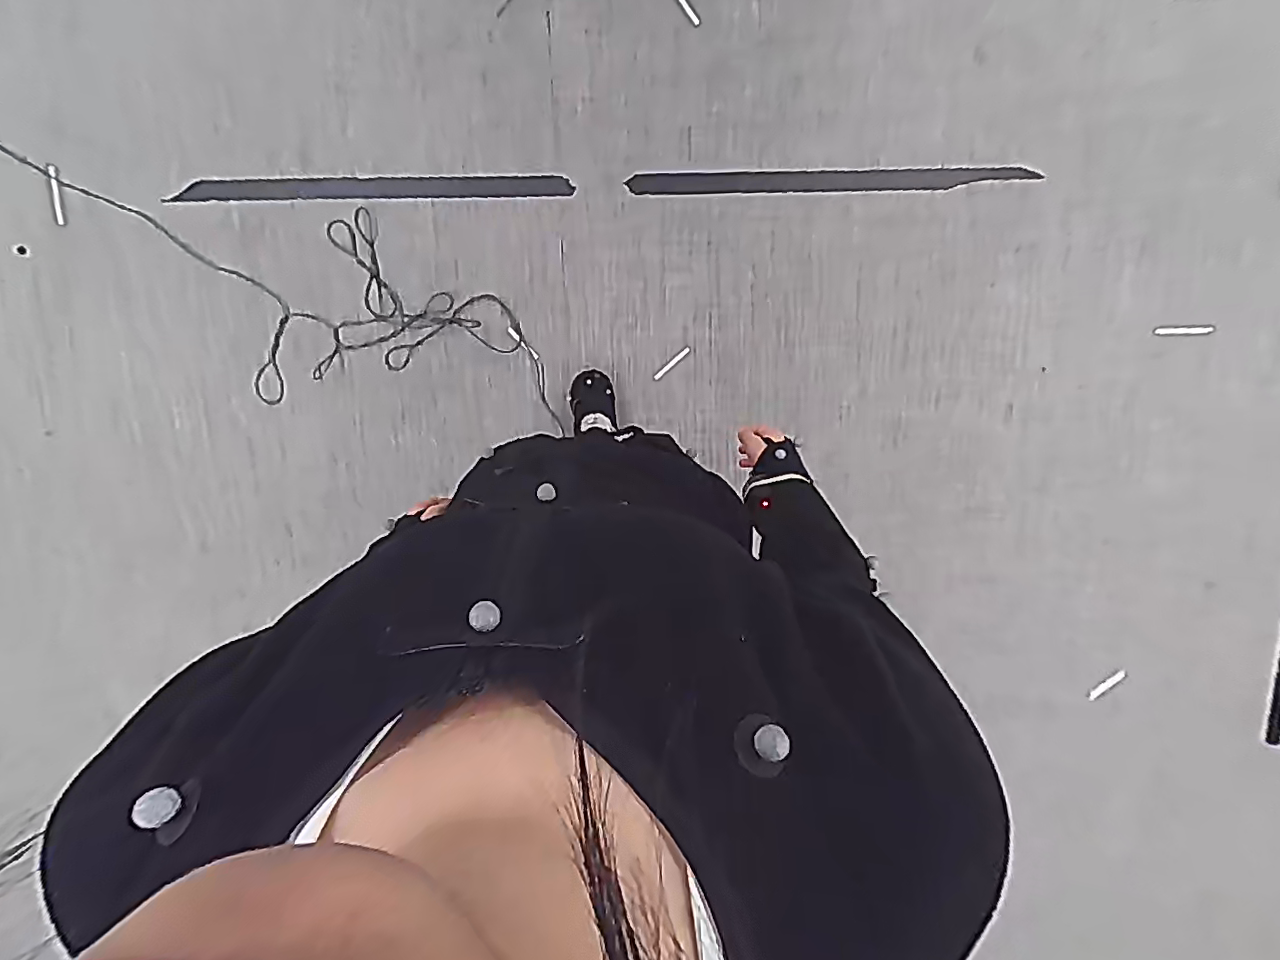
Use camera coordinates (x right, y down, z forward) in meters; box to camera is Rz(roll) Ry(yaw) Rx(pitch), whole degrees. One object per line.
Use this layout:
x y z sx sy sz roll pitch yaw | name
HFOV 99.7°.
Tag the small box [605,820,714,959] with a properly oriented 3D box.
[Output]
0.027 0.714 0.920 0.168 0.176 0.179 2 99 -1 | small box
